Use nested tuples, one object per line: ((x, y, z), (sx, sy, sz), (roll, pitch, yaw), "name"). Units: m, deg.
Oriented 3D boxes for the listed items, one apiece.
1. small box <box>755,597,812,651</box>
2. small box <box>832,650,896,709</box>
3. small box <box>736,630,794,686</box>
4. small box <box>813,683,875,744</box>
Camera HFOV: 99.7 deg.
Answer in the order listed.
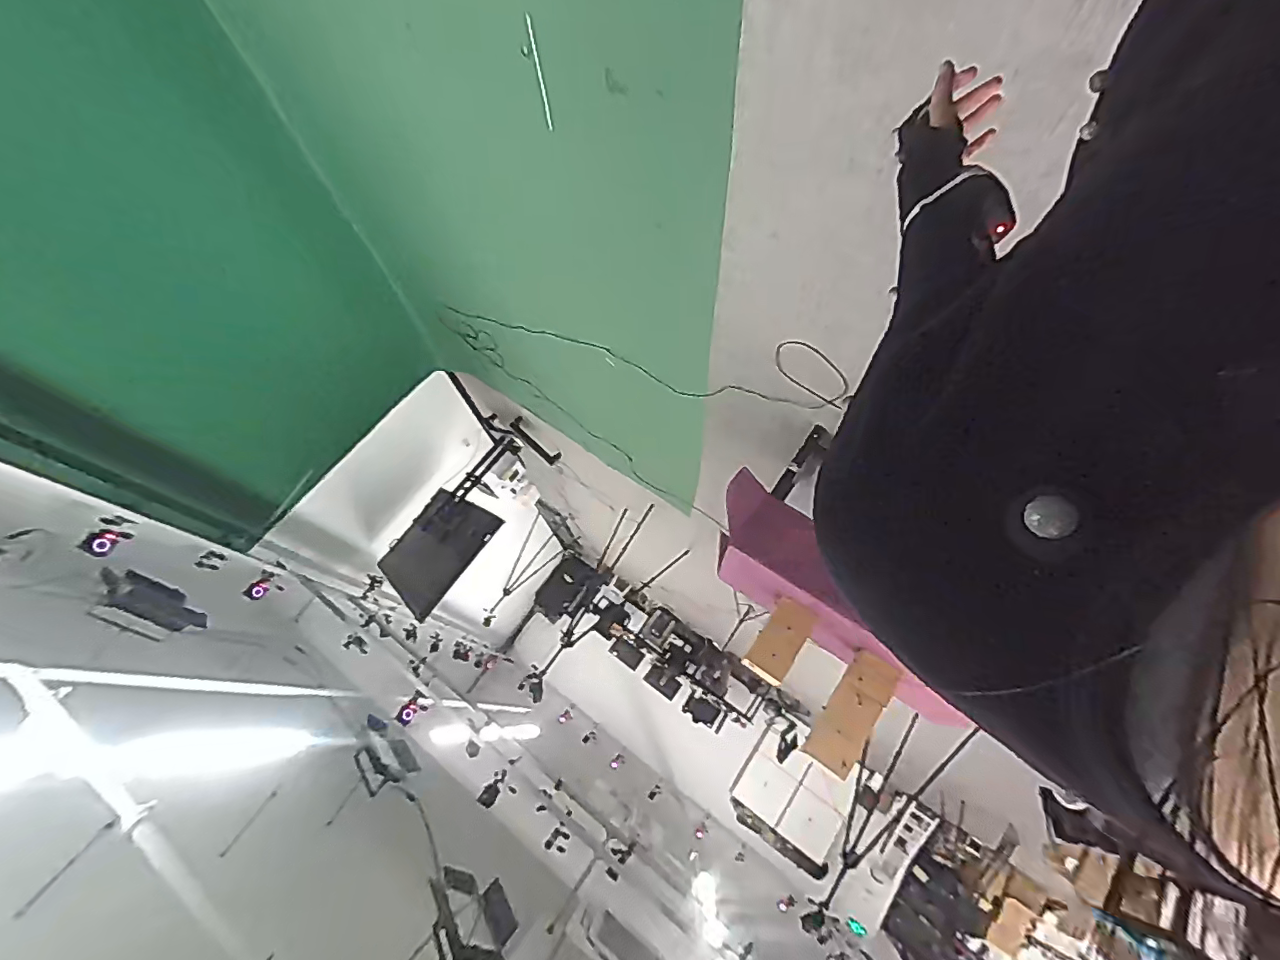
((0.640, 0.647, 2.407), (0.179, 0.176, 0.168), (34, 161, 15), "small box")
((0.957, 0.854, 2.307), (0.179, 0.176, 0.168), (33, 162, 17), "small box")
((0.544, 0.770, 2.358), (0.179, 0.176, 0.168), (32, 161, 16), "small box")
((0.854, 0.975, 2.264), (0.168, 0.176, 0.179), (33, 162, 17), "small box")
